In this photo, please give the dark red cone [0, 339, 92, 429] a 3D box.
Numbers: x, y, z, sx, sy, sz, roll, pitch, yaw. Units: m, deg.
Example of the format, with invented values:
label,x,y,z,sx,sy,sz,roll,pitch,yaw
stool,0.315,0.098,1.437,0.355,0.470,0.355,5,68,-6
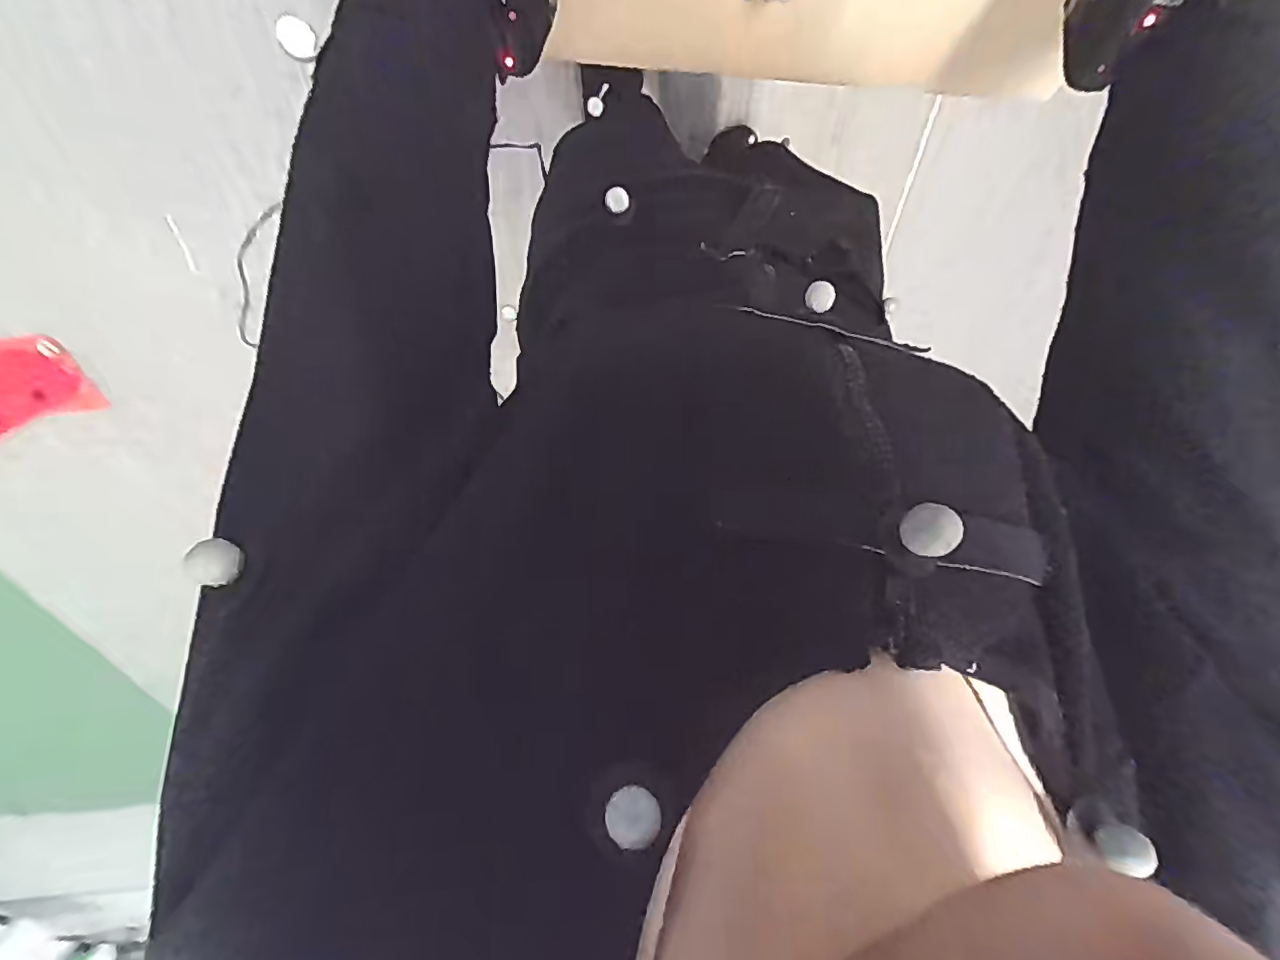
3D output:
label,x,y,z,sx,sy,sz,roll,pitch,yaw
dark red cone,-1.396,-0.119,1.109,0.201,0.394,0.202,-4,133,1
